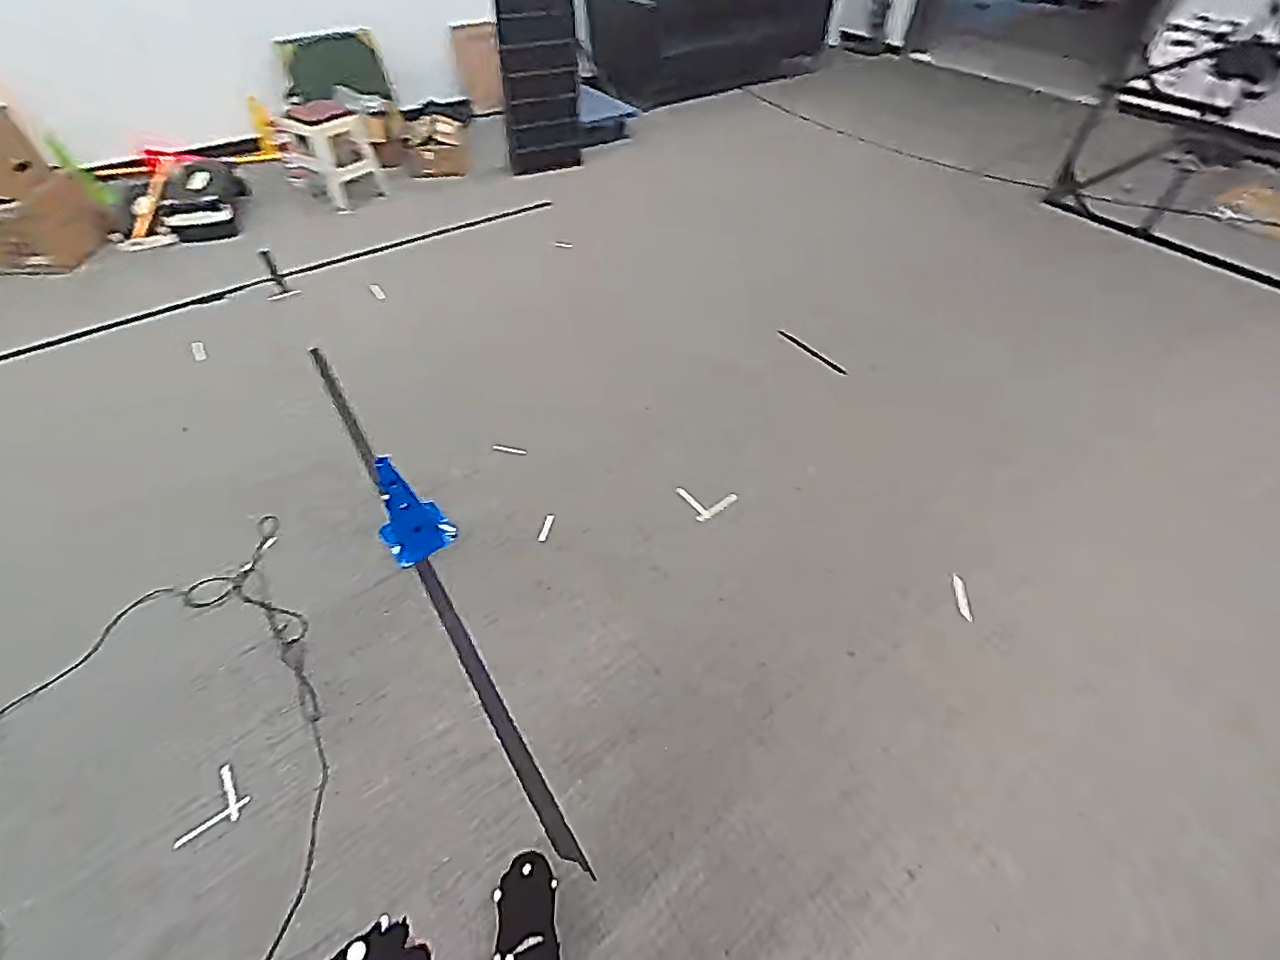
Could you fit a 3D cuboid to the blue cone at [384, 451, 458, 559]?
[{"bbox_3d":[-0.715,0.056,1.654,0.192,0.380,0.193,-30,57,-25],"label":"blue cone"}]
